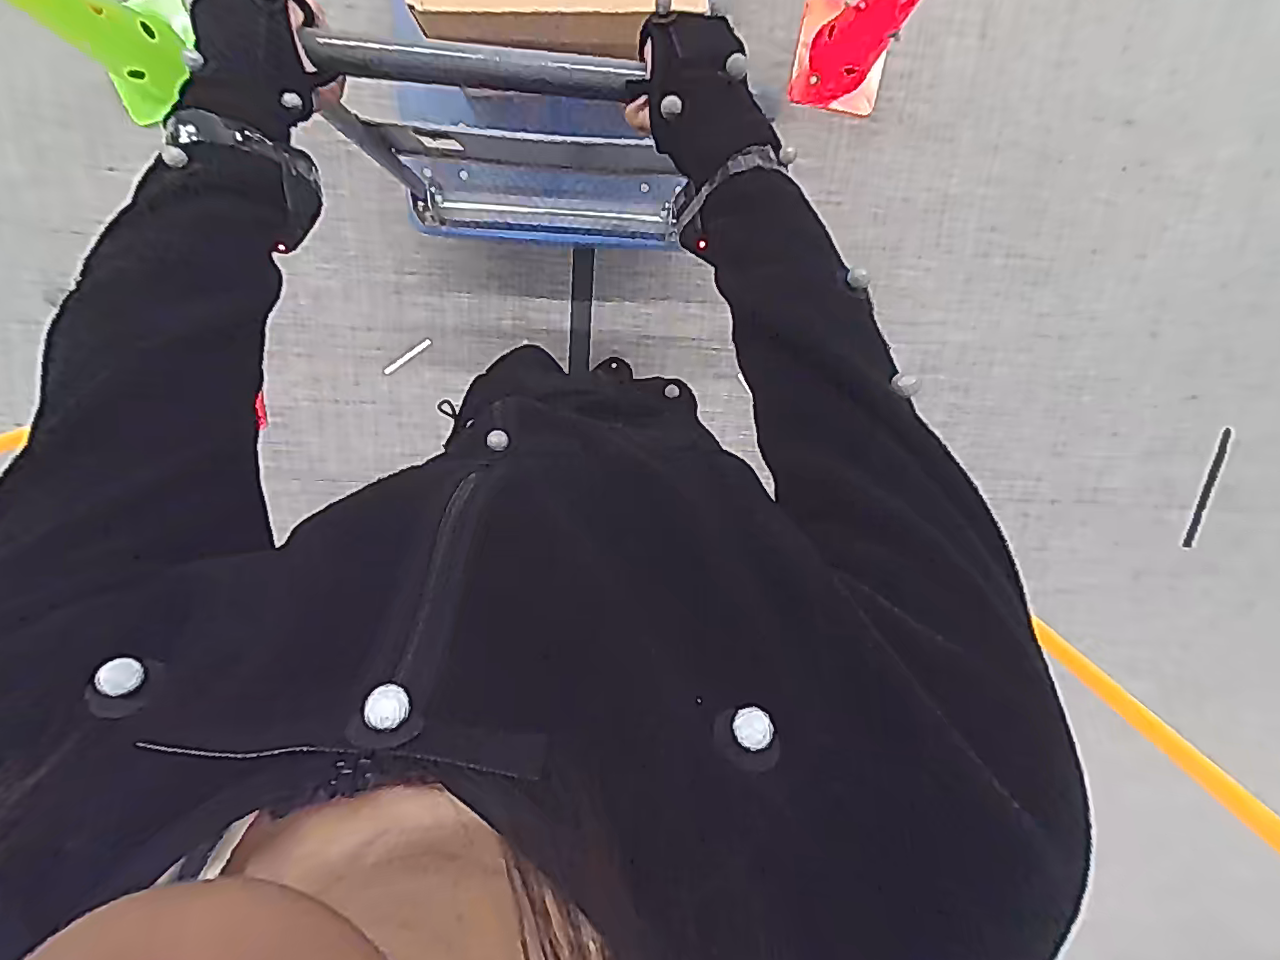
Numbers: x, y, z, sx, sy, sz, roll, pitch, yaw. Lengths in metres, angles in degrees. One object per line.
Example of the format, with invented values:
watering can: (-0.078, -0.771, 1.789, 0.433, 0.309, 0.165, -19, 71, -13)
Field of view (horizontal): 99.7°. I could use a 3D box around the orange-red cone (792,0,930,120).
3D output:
orange-red cone: (0.461, -0.864, 1.021, 0.199, 0.360, 0.198, 8, 107, -8)
